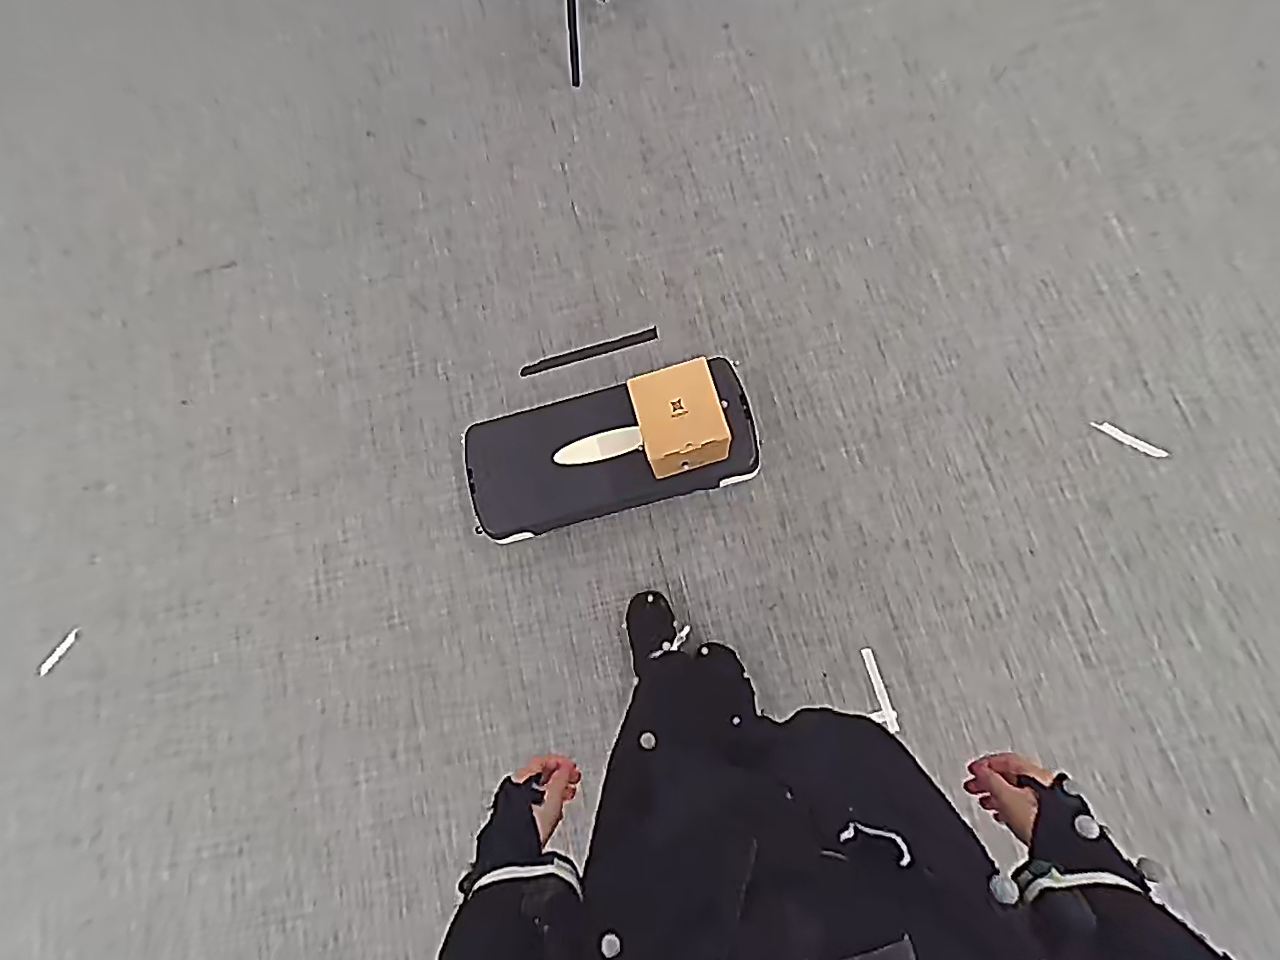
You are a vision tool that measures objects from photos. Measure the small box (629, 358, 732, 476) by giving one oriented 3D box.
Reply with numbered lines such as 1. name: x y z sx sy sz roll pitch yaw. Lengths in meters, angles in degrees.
1. small box: 0.083 -0.123 1.130 0.168 0.176 0.179 -17 78 2
